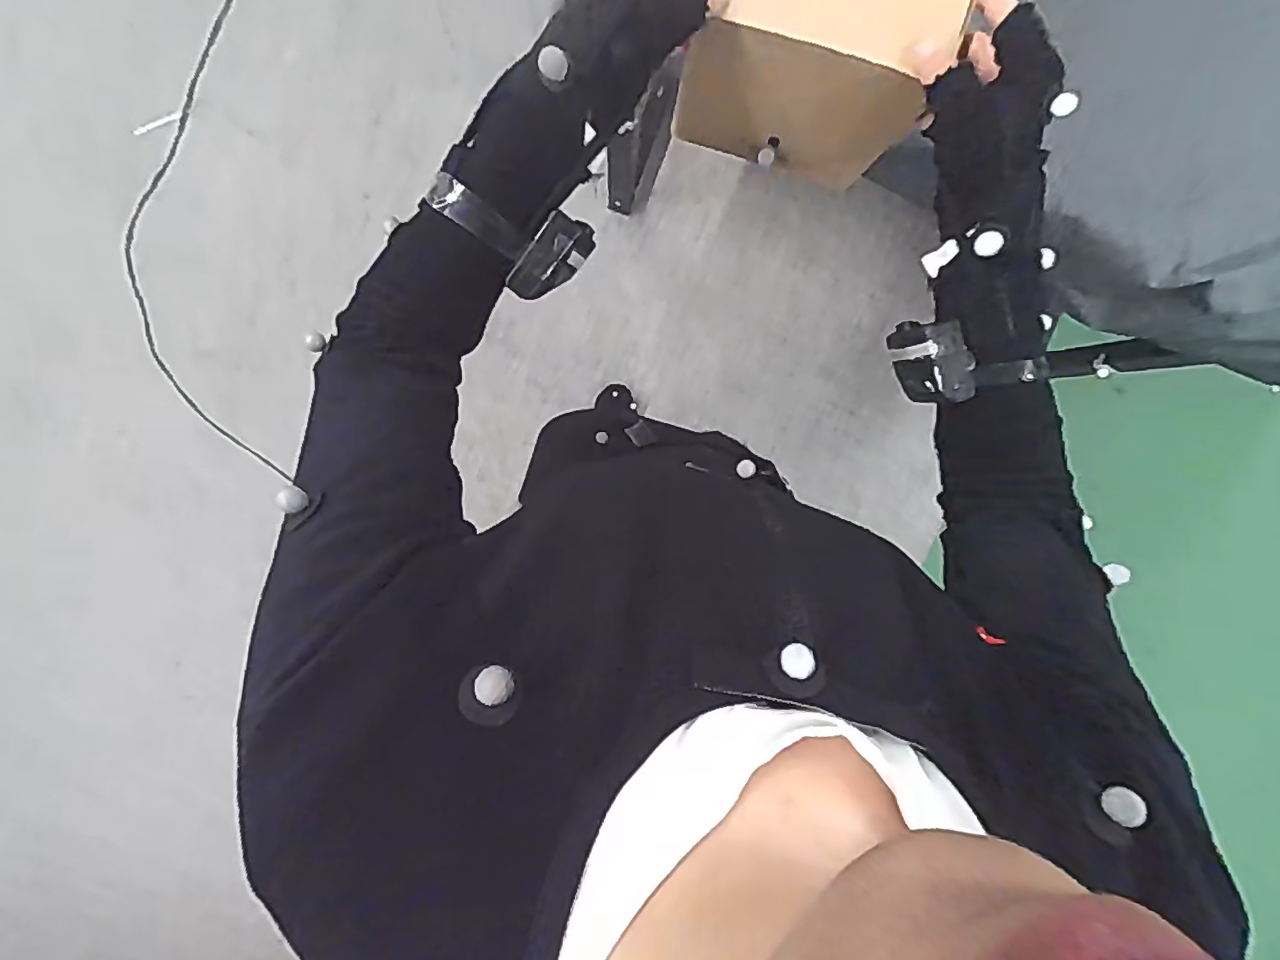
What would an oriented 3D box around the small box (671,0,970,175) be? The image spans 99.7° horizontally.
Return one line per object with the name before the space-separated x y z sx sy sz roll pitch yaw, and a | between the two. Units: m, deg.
small box | 0.134 -0.371 0.422 0.179 0.176 0.168 14 96 -5
